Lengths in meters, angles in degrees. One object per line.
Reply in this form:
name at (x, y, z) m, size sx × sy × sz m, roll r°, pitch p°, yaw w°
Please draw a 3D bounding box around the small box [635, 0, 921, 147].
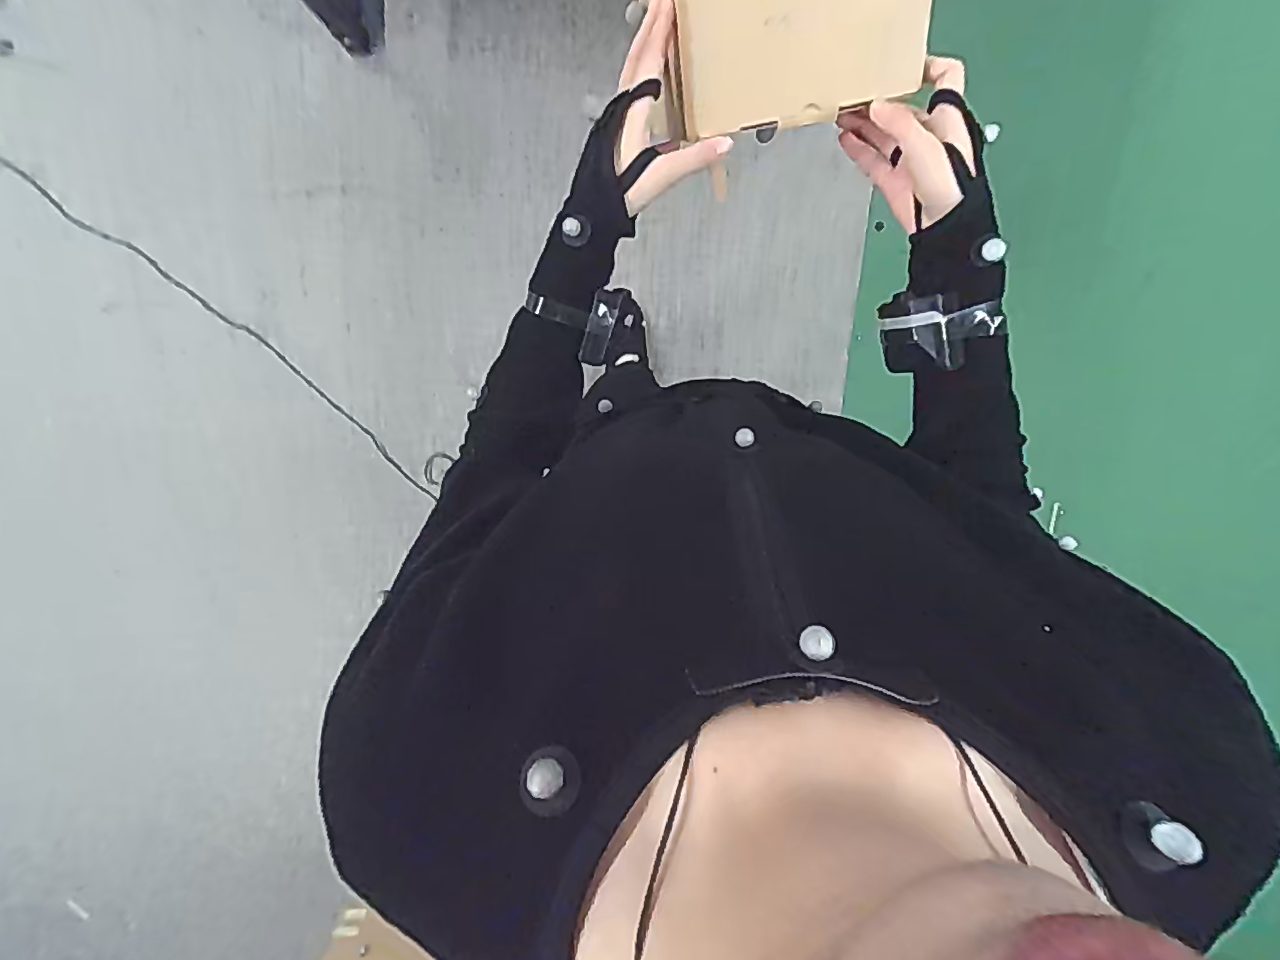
small box at (0.088, -0.368, 0.400) m, size 0.168 × 0.176 × 0.179 m, roll -13°, pitch 126°, yaw -1°
